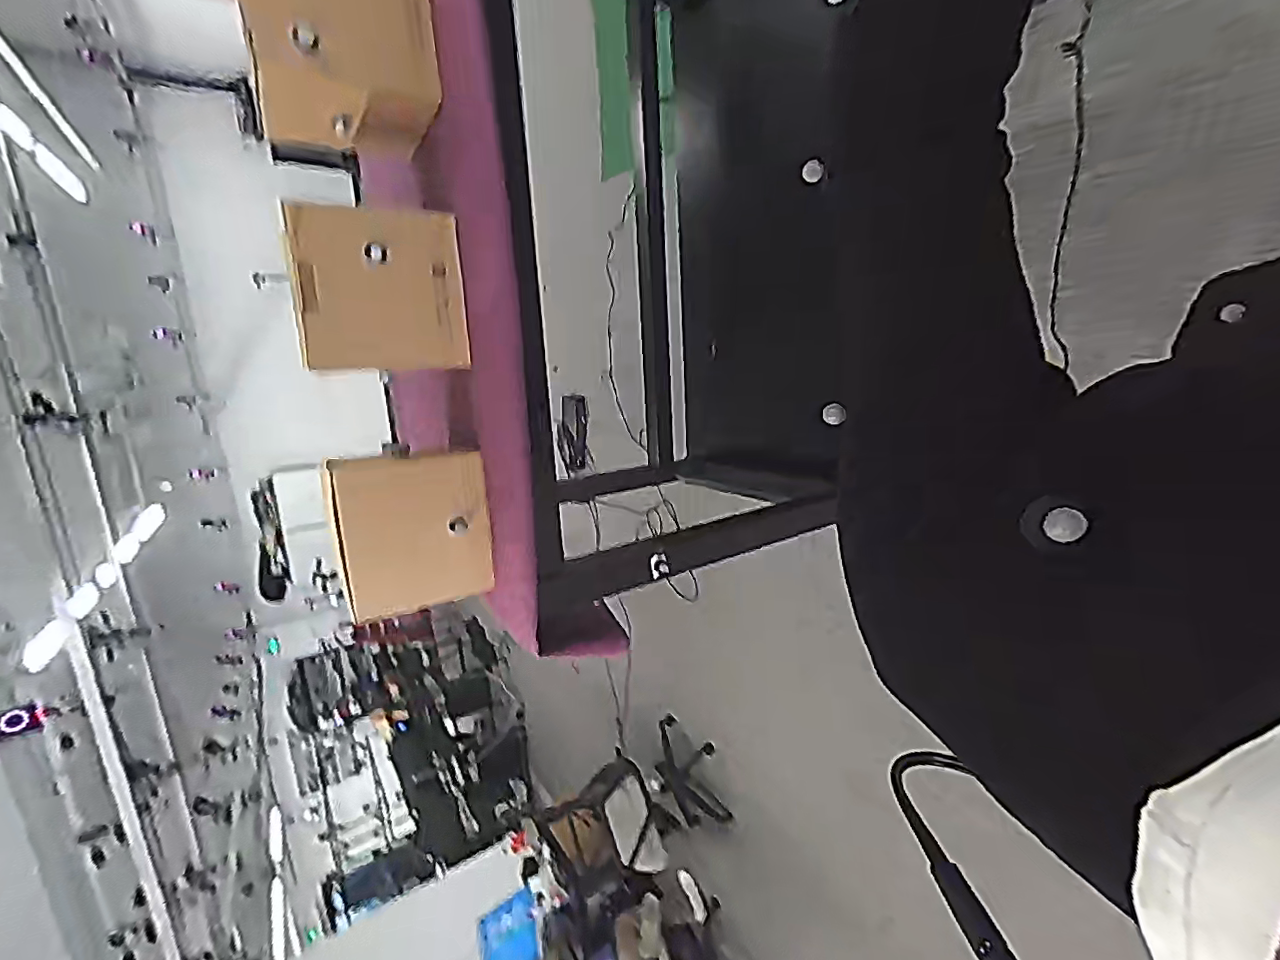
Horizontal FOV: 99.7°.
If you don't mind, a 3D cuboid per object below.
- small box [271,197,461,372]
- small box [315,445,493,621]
[{"bbox_3d":[-0.316,-0.217,0.635,0.179,0.176,0.168,18,113,55],"label":"small box"},{"bbox_3d":[-0.298,0.051,0.687,0.168,0.176,0.179,10,107,56],"label":"small box"}]
